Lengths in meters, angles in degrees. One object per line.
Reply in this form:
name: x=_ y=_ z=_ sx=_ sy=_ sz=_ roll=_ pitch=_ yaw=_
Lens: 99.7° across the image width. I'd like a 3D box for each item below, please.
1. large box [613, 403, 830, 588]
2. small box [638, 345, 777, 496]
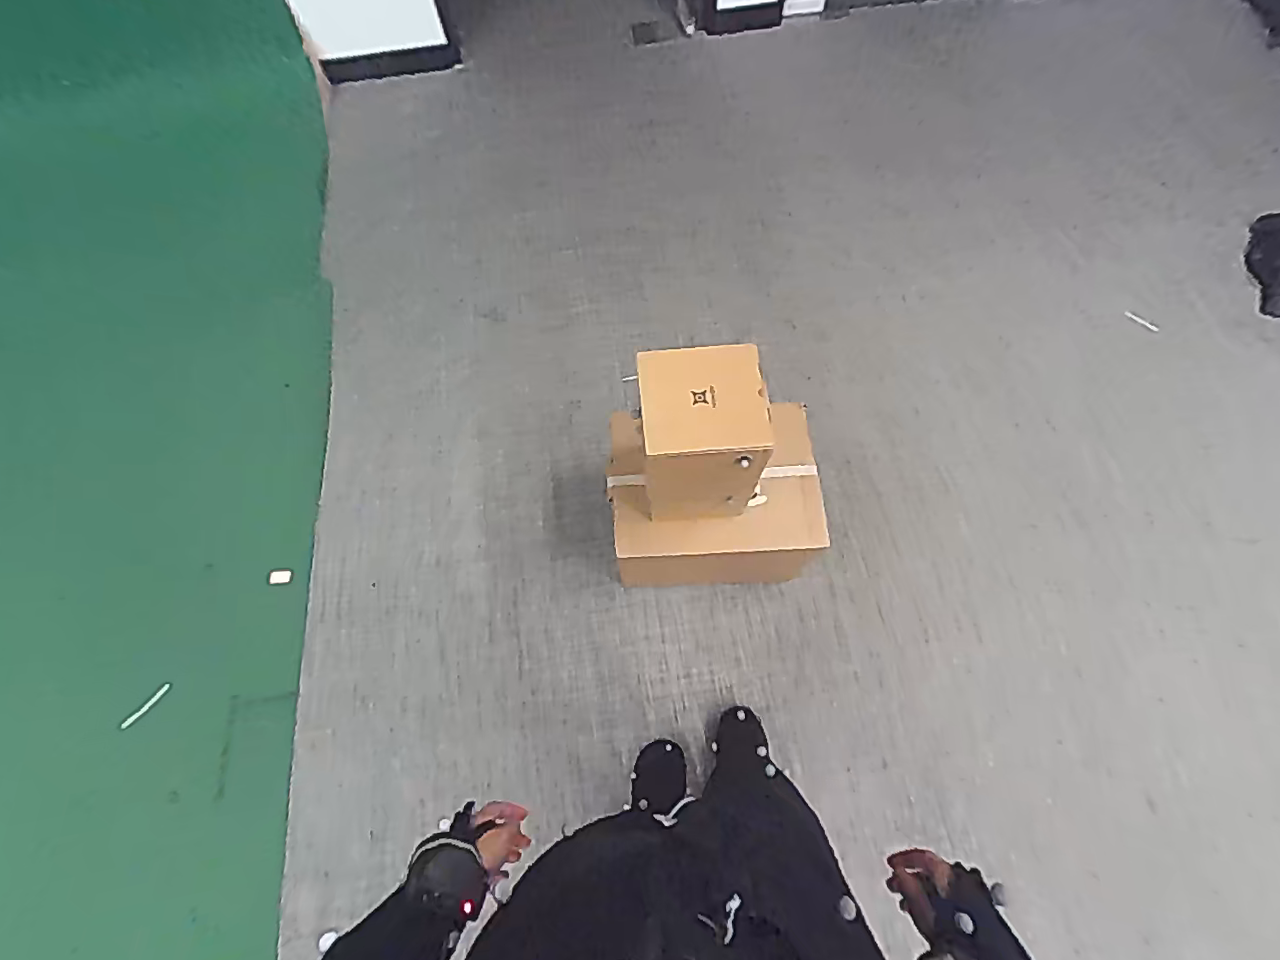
large box: x=0.151 y=0.049 z=1.201 sx=0.408 sy=0.320 sz=0.320 roll=-3 pitch=69 yaw=-1
small box: x=0.092 y=-0.082 z=0.816 sx=0.179 sy=0.176 sz=0.168 roll=-5 pitch=68 yaw=-1
